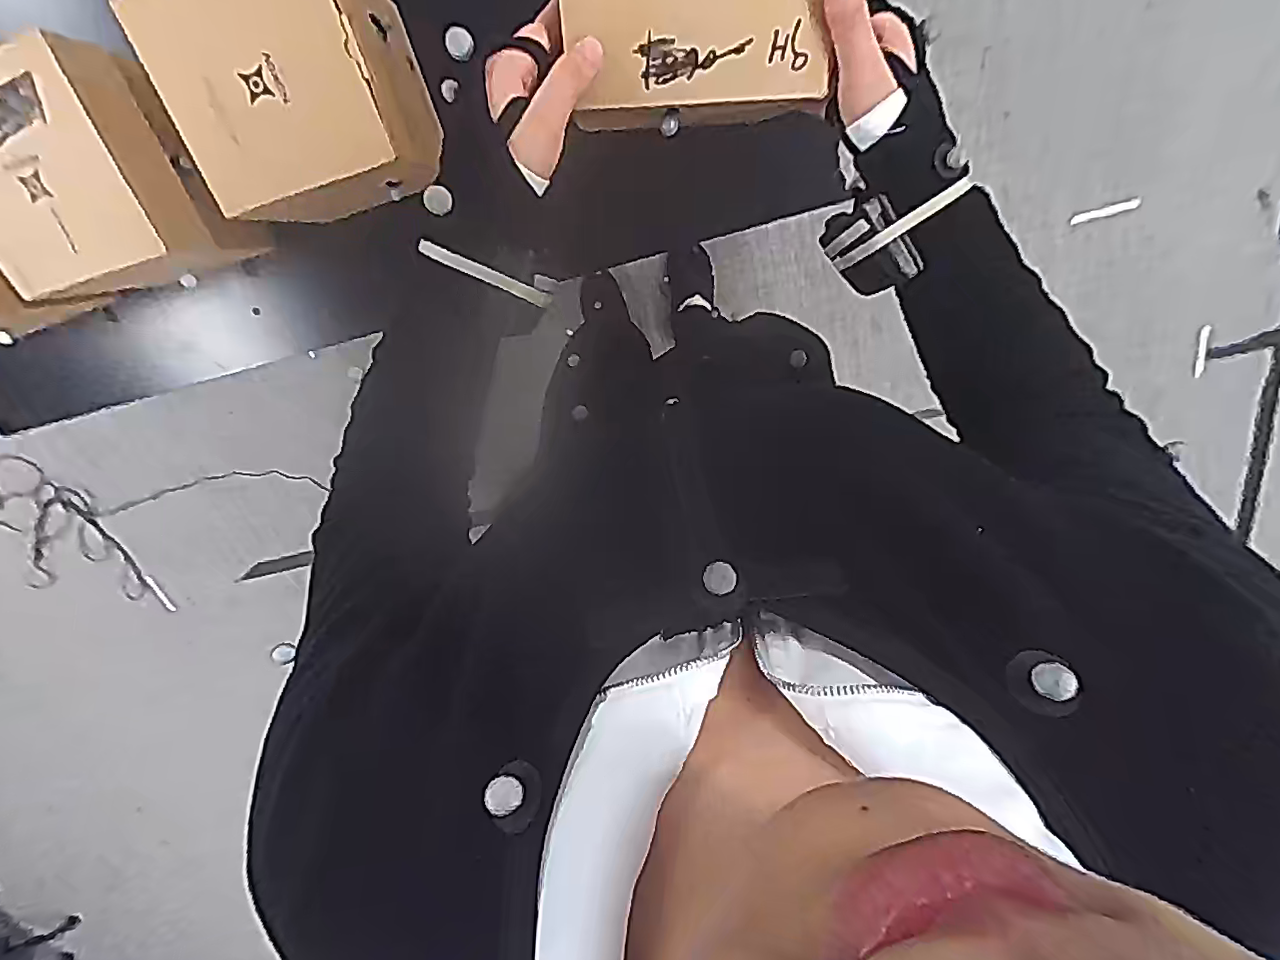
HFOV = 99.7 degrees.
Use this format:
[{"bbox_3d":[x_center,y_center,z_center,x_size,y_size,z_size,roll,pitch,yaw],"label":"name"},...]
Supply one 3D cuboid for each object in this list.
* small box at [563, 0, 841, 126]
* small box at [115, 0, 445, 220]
[{"bbox_3d":[0.031,-0.353,0.365,0.168,0.176,0.179,-4,120,-1],"label":"small box"},{"bbox_3d":[-0.311,-0.363,0.520,0.179,0.176,0.168,-15,113,8],"label":"small box"}]
